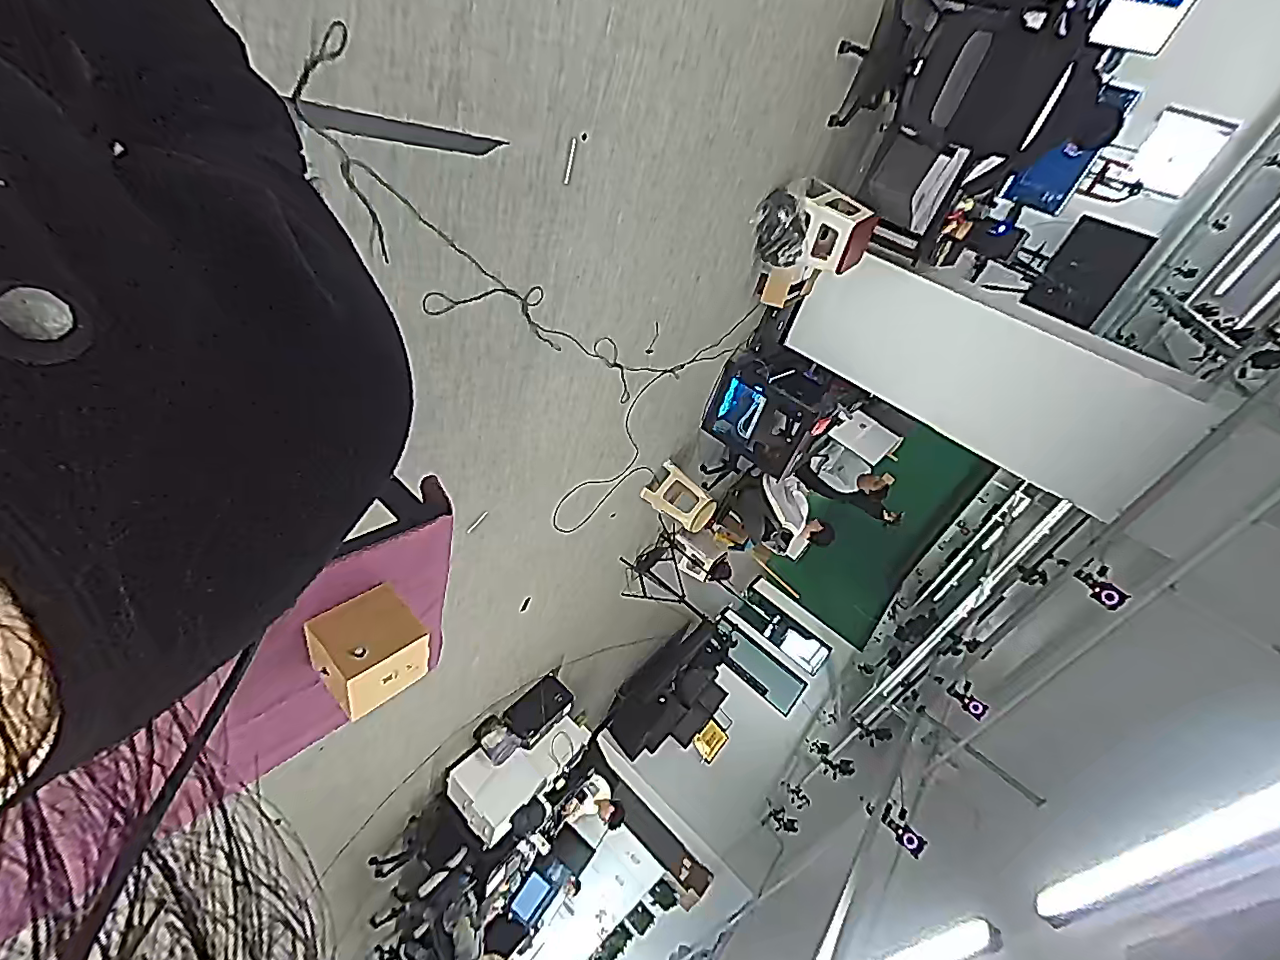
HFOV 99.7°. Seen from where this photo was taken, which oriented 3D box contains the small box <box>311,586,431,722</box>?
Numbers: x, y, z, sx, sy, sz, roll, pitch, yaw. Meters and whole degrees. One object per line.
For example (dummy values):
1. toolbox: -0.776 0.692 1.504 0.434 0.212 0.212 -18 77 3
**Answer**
1. small box: -0.570 0.362 1.146 0.179 0.176 0.168 -29 149 -44
